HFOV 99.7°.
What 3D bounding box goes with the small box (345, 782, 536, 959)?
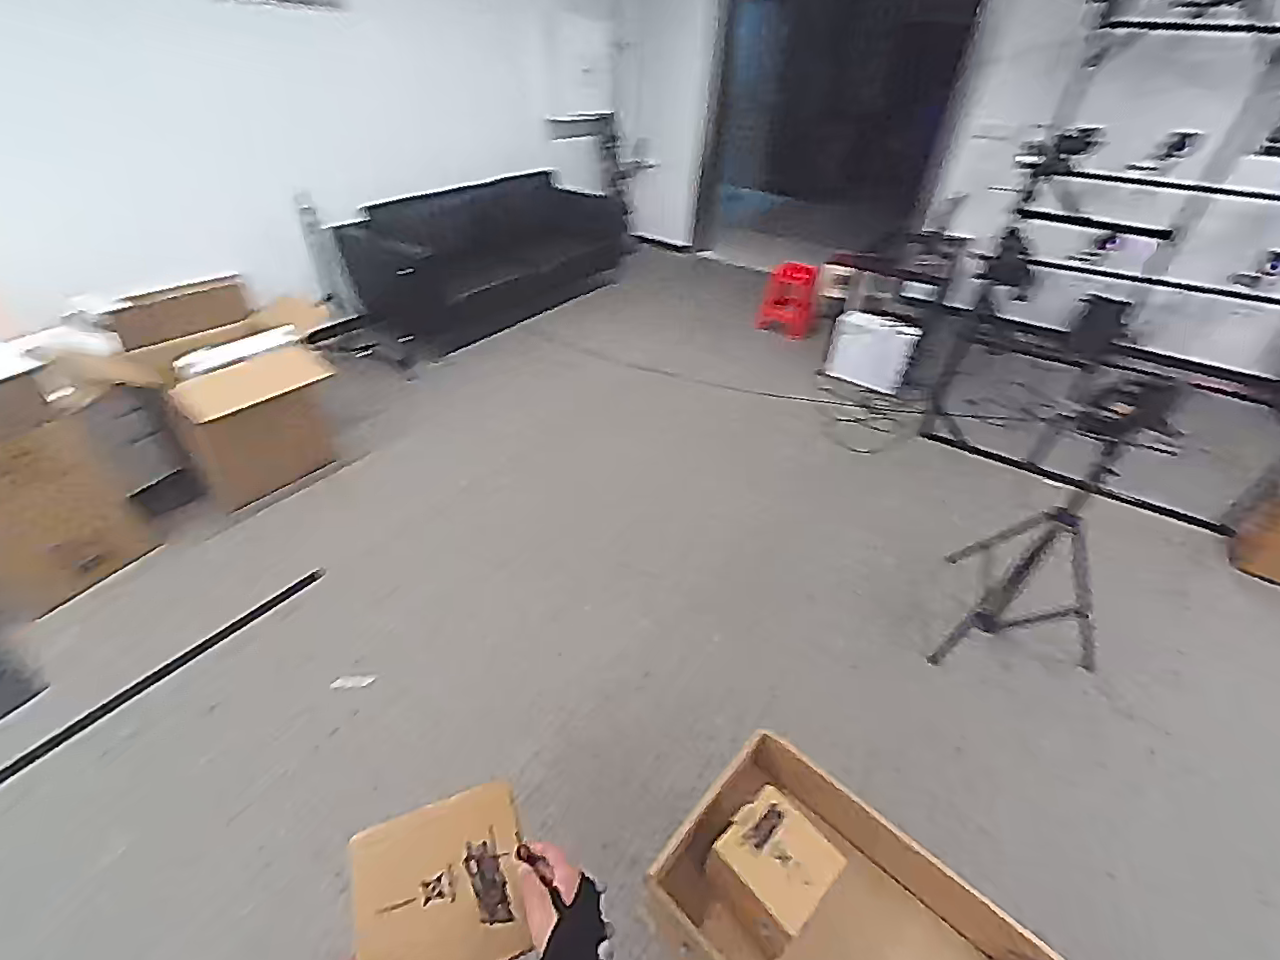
[{"bbox_3d":[-0.226,0.486,0.632,0.179,0.176,0.168,-12,51,-19],"label":"small box"}]
